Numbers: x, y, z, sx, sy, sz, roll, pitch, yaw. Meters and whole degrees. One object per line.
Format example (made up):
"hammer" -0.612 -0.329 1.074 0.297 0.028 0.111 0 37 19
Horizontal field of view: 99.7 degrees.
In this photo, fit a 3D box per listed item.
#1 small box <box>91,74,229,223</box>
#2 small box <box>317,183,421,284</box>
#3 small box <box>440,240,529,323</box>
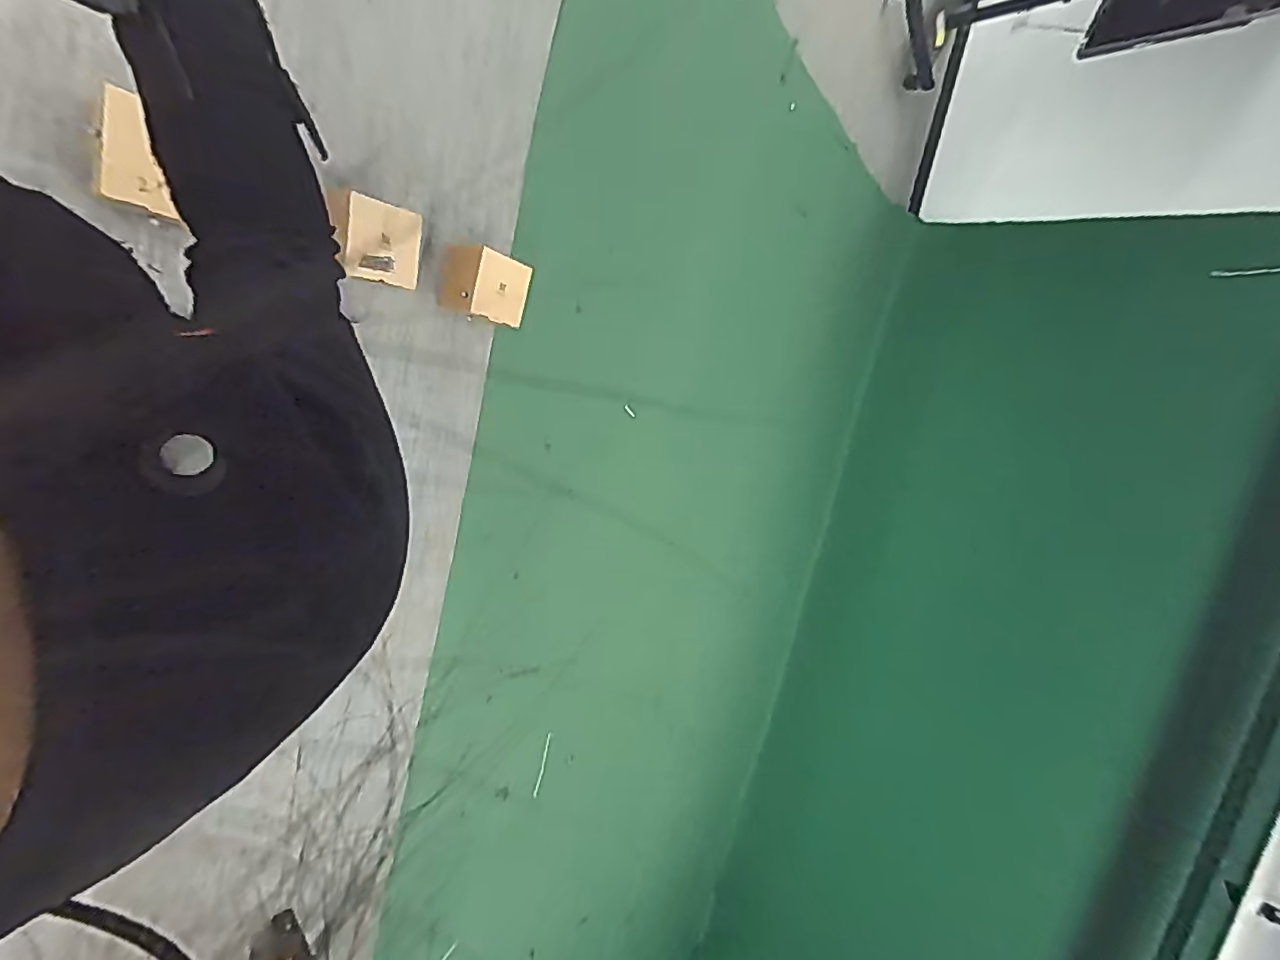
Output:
"small box" -0.882 -0.591 0.991 0.168 0.176 0.179 2 105 -49
"small box" -0.648 -0.577 1.283 0.168 0.176 0.179 -3 107 -50
"small box" -0.445 -0.563 1.536 0.168 0.176 0.179 6 101 -50
